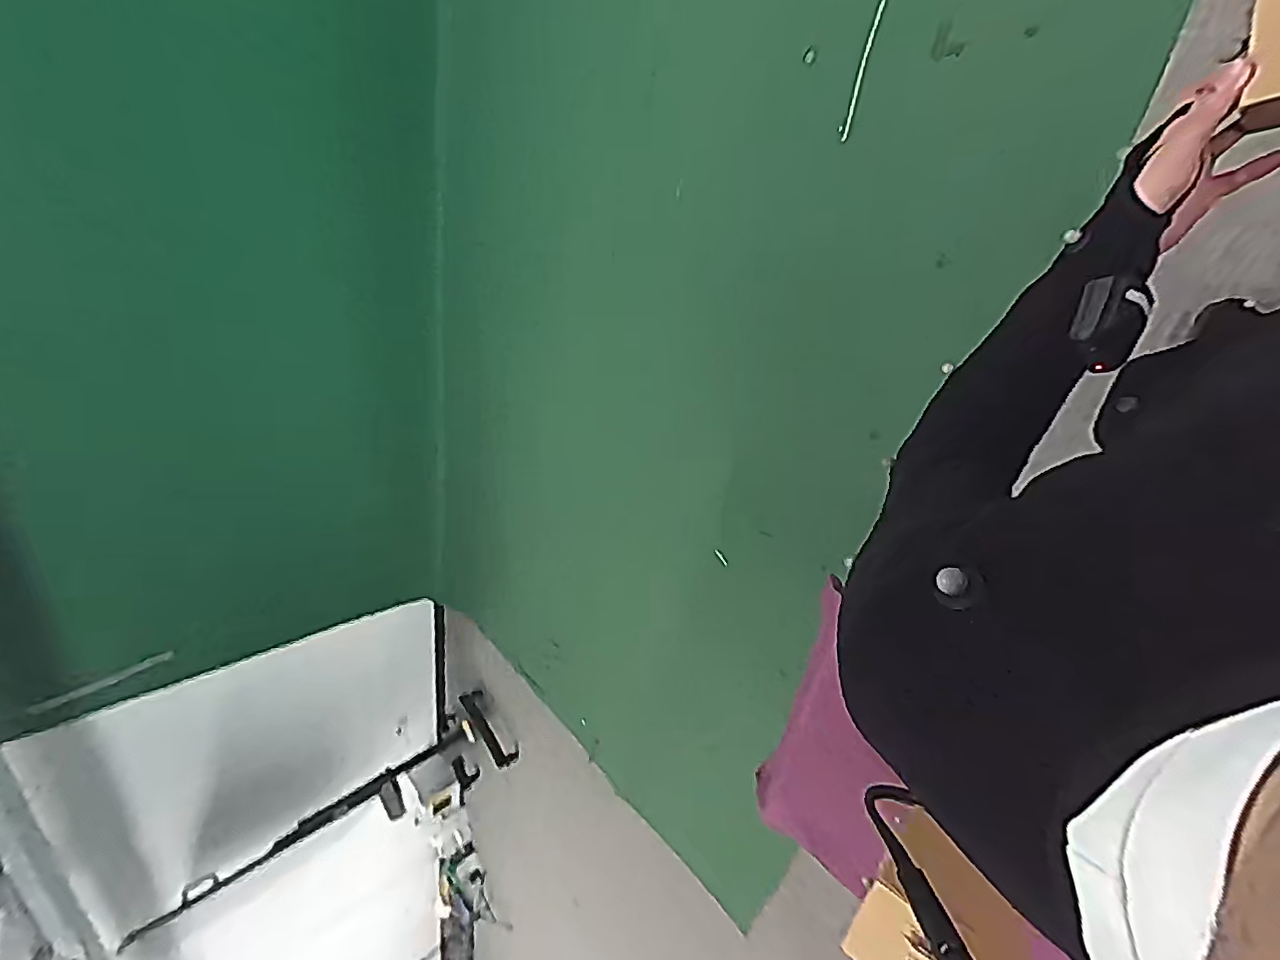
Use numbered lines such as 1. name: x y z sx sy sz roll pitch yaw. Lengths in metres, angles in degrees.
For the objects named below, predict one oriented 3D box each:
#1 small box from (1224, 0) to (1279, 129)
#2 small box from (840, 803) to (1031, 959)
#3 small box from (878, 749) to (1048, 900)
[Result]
1. small box: 0.520 -0.352 0.351 0.168 0.176 0.179 11 114 47
2. small box: 0.410 0.603 0.750 0.168 0.176 0.179 28 123 36
3. small box: 0.521 0.585 0.871 0.168 0.176 0.179 31 122 35
